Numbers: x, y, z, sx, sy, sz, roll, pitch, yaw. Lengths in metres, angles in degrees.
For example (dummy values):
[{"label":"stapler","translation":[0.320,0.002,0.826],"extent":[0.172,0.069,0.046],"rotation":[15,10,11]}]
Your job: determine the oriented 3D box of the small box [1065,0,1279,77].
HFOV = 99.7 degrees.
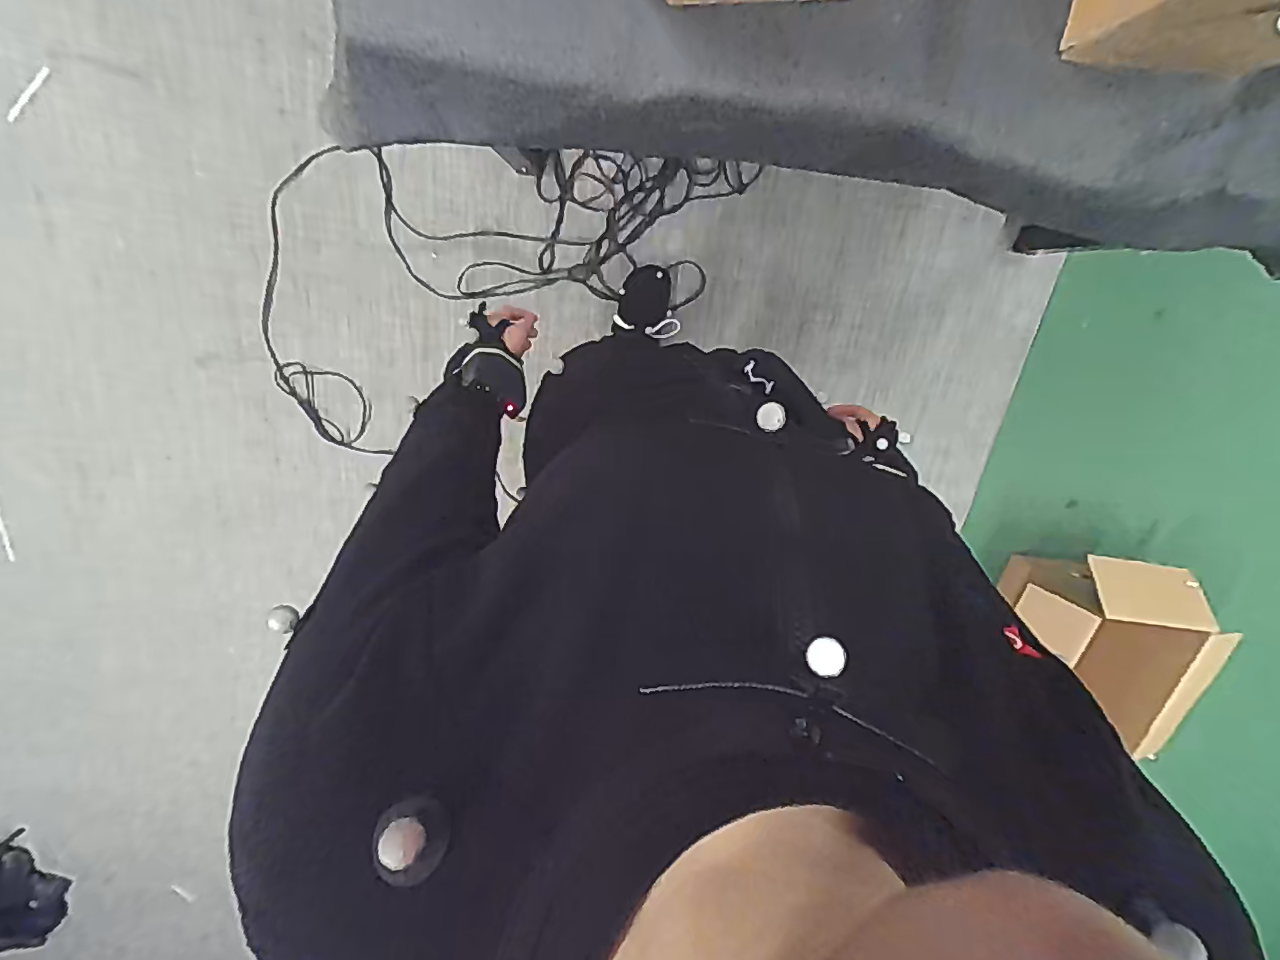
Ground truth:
[{"label":"small box","translation":[0.477,-0.422,0.393],"extent":[0.179,0.176,0.168],"rotation":[4,110,-3]}]
